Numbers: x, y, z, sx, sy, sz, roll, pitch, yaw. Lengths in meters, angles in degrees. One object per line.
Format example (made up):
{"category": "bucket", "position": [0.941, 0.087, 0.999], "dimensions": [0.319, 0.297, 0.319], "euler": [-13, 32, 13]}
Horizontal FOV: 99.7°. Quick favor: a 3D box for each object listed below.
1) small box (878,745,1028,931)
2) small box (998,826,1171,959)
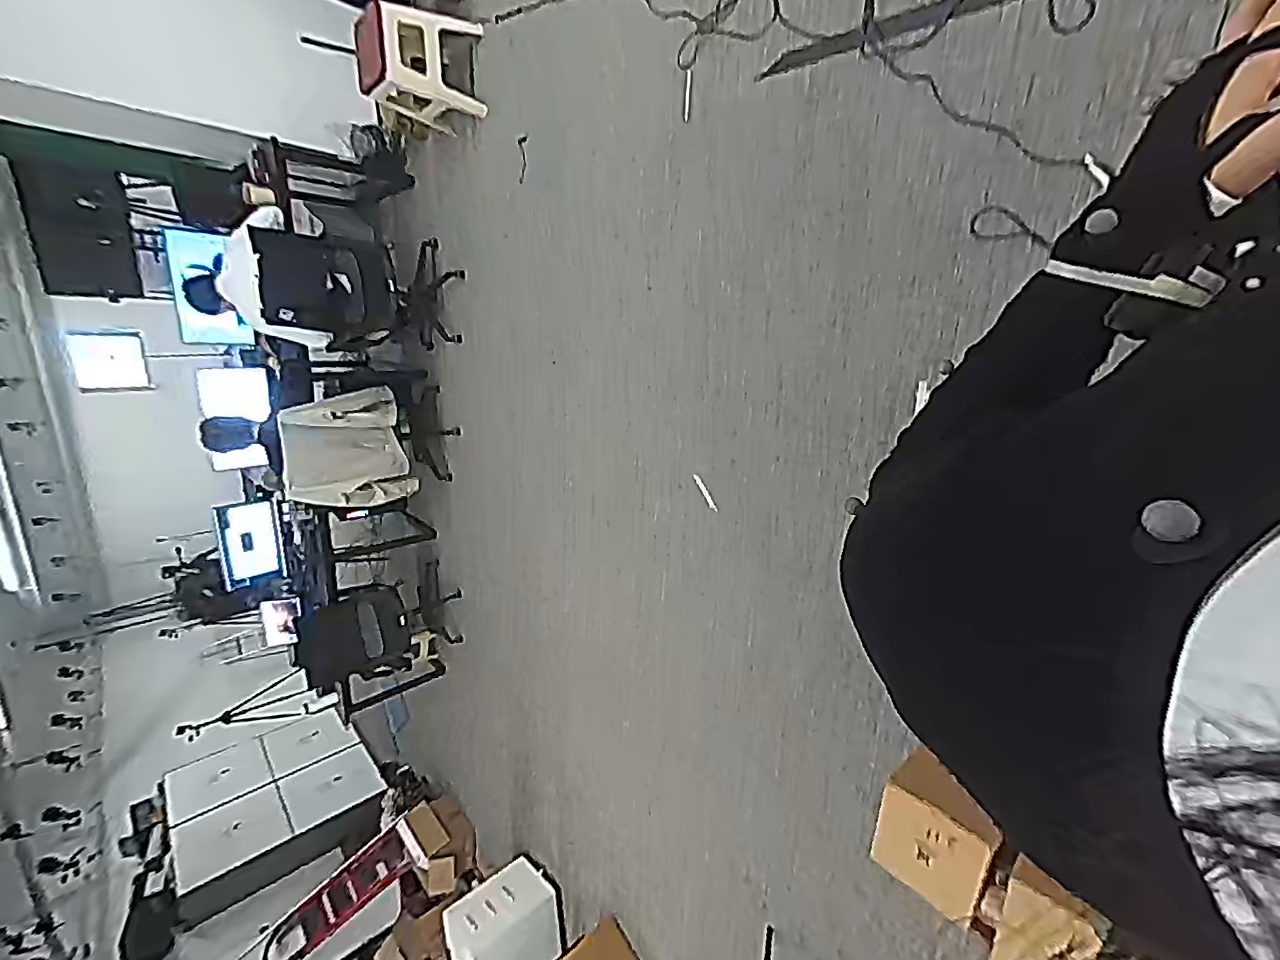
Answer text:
{"category": "small box", "position": [0.551, 0.614, 0.951], "dimensions": [0.168, 0.176, 0.179], "euler": [20, 112, 46]}
{"category": "small box", "position": [0.677, 0.687, 0.824], "dimensions": [0.168, 0.176, 0.179], "euler": [16, 107, 44]}
